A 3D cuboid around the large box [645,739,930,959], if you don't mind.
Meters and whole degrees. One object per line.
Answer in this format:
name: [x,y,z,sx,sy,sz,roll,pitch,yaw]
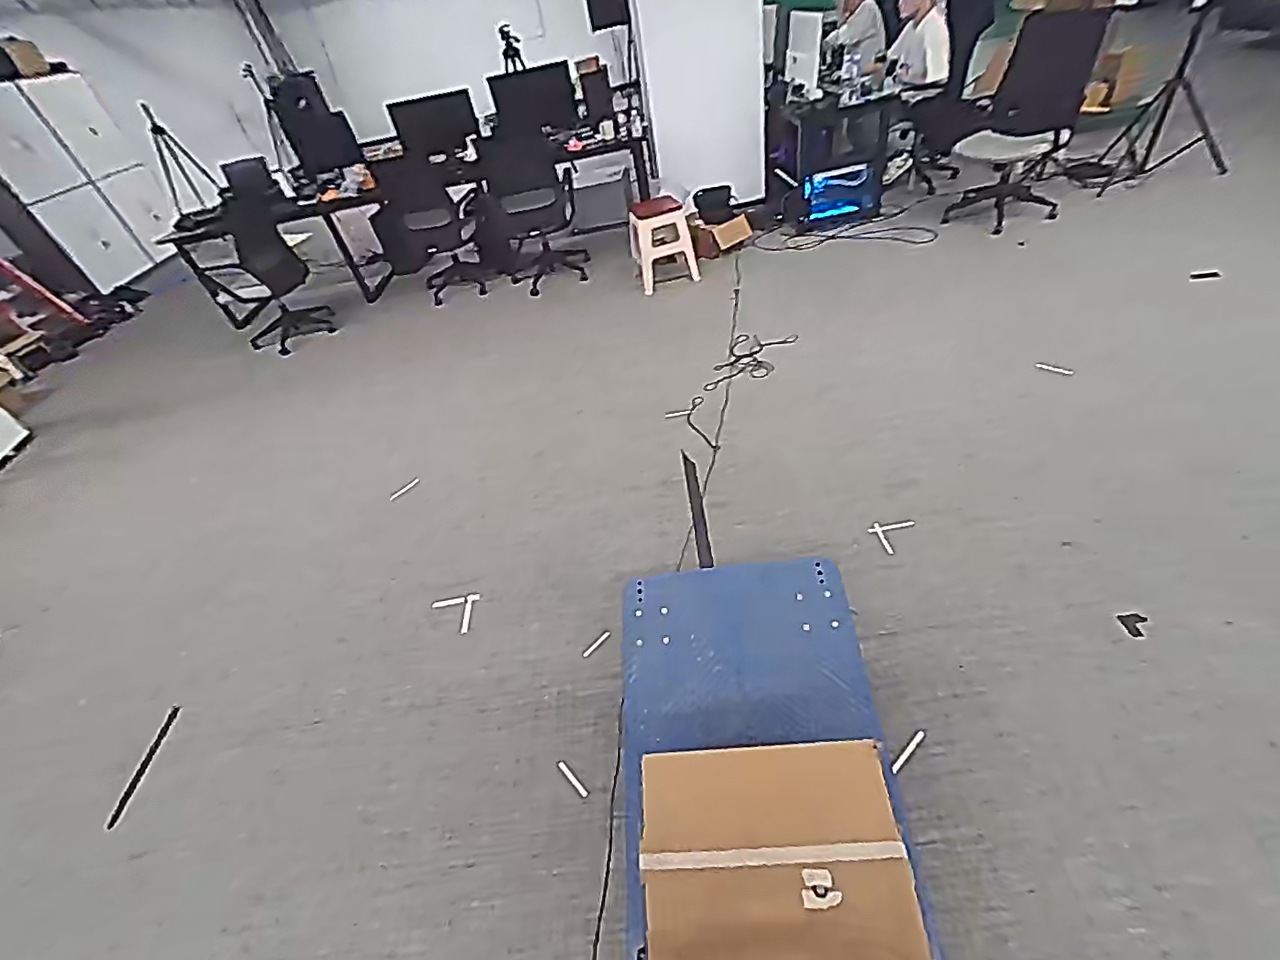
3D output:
large box: [0.233,0.685,0.988,0.408,0.320,0.320,-7,54,6]
